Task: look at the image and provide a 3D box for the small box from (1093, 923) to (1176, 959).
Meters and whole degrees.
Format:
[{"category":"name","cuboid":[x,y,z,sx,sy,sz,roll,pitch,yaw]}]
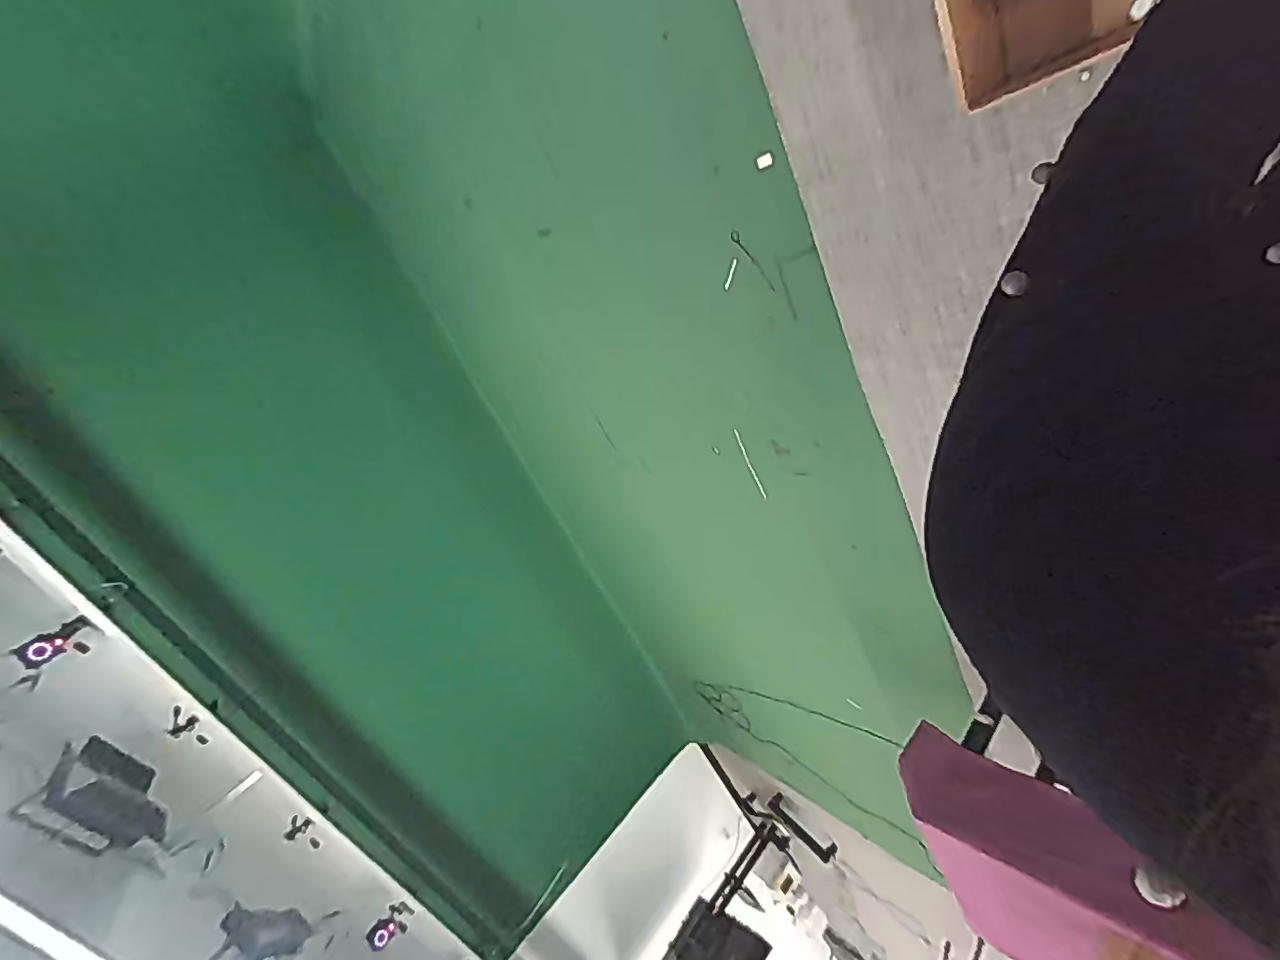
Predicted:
[{"category":"small box","cuboid":[1.120,1.144,1.191,0.179,0.176,0.168,3,127,55]}]
